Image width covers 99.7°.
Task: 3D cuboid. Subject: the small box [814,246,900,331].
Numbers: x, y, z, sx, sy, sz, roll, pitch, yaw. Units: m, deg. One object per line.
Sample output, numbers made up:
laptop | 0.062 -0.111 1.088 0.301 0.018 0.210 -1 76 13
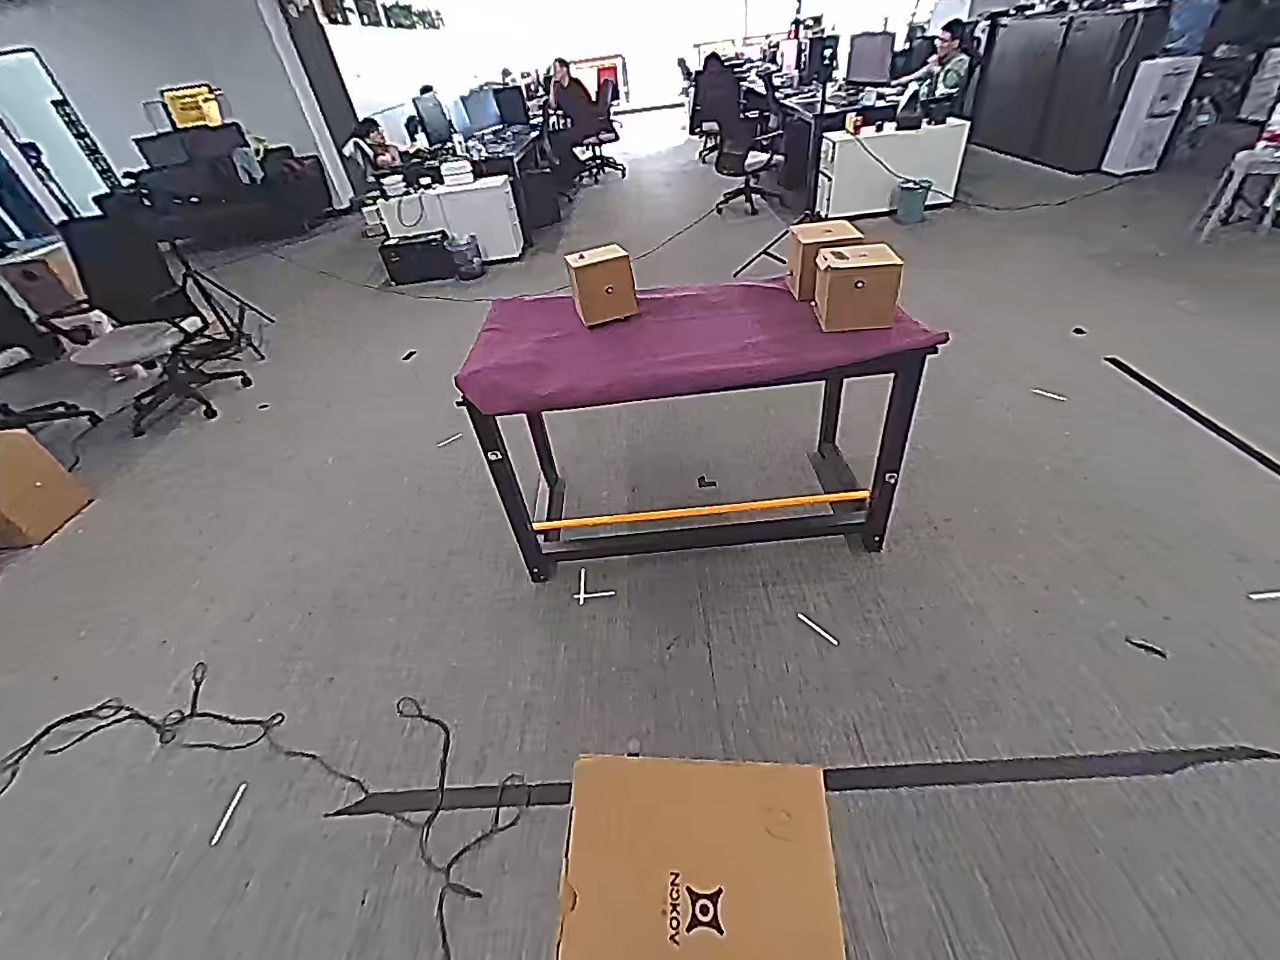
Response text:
small box | 0.568 -0.507 1.441 0.179 0.176 0.168 -2 38 7

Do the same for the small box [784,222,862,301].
small box | 0.541 -0.654 1.624 0.179 0.176 0.168 -6 40 3

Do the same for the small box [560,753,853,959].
small box | 0.047 0.305 0.401 0.179 0.176 0.168 -2 57 7
